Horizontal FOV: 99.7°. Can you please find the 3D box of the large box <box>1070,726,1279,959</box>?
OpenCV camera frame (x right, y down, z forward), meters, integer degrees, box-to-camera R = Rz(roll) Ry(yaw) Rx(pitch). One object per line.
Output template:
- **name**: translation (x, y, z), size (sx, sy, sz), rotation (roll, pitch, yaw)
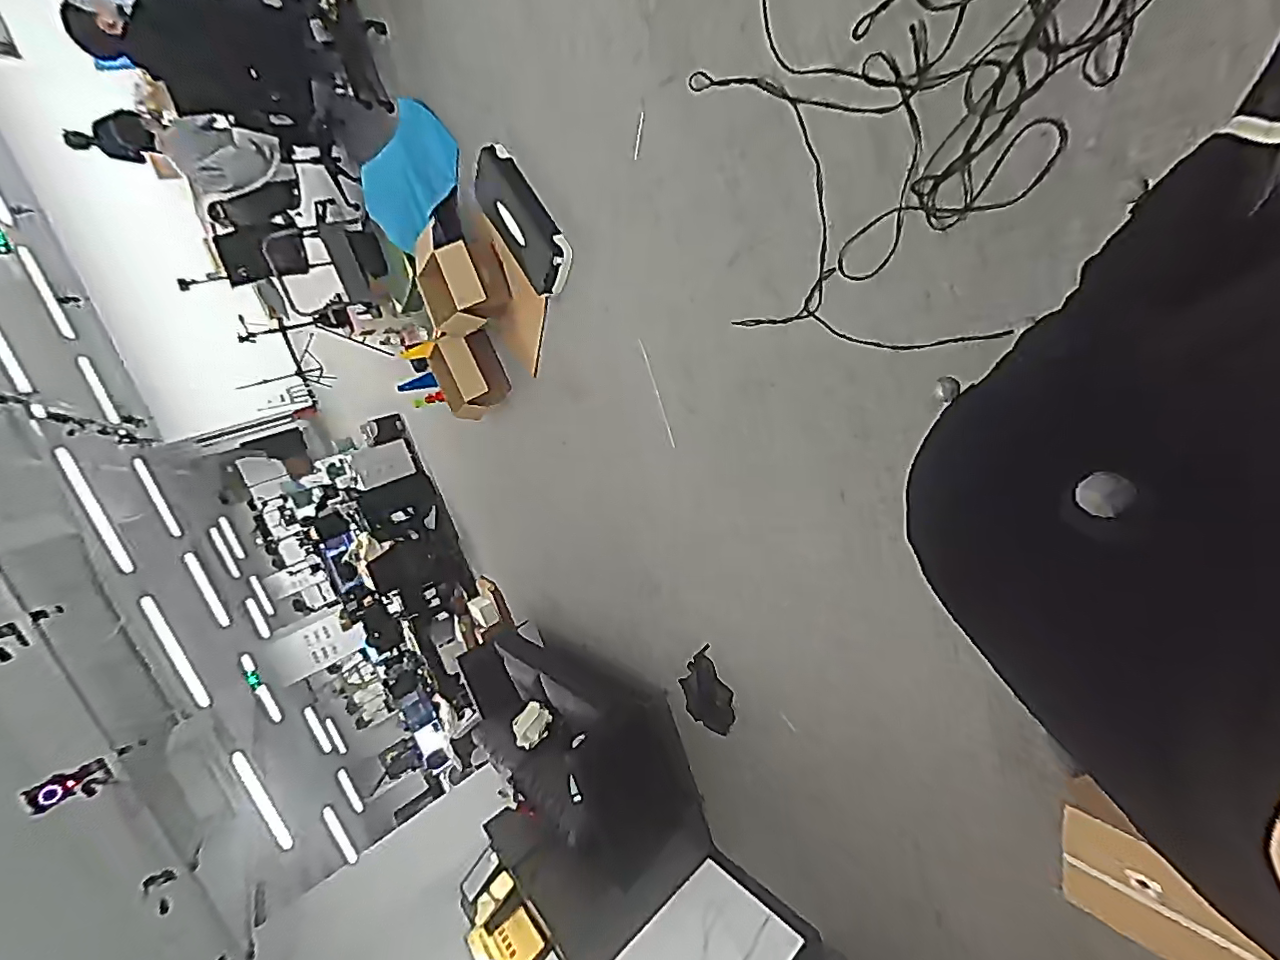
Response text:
- **large box**: translation (1.209, 0.813, 1.139), size (0.408, 0.320, 0.320), rotation (13, 122, 54)
